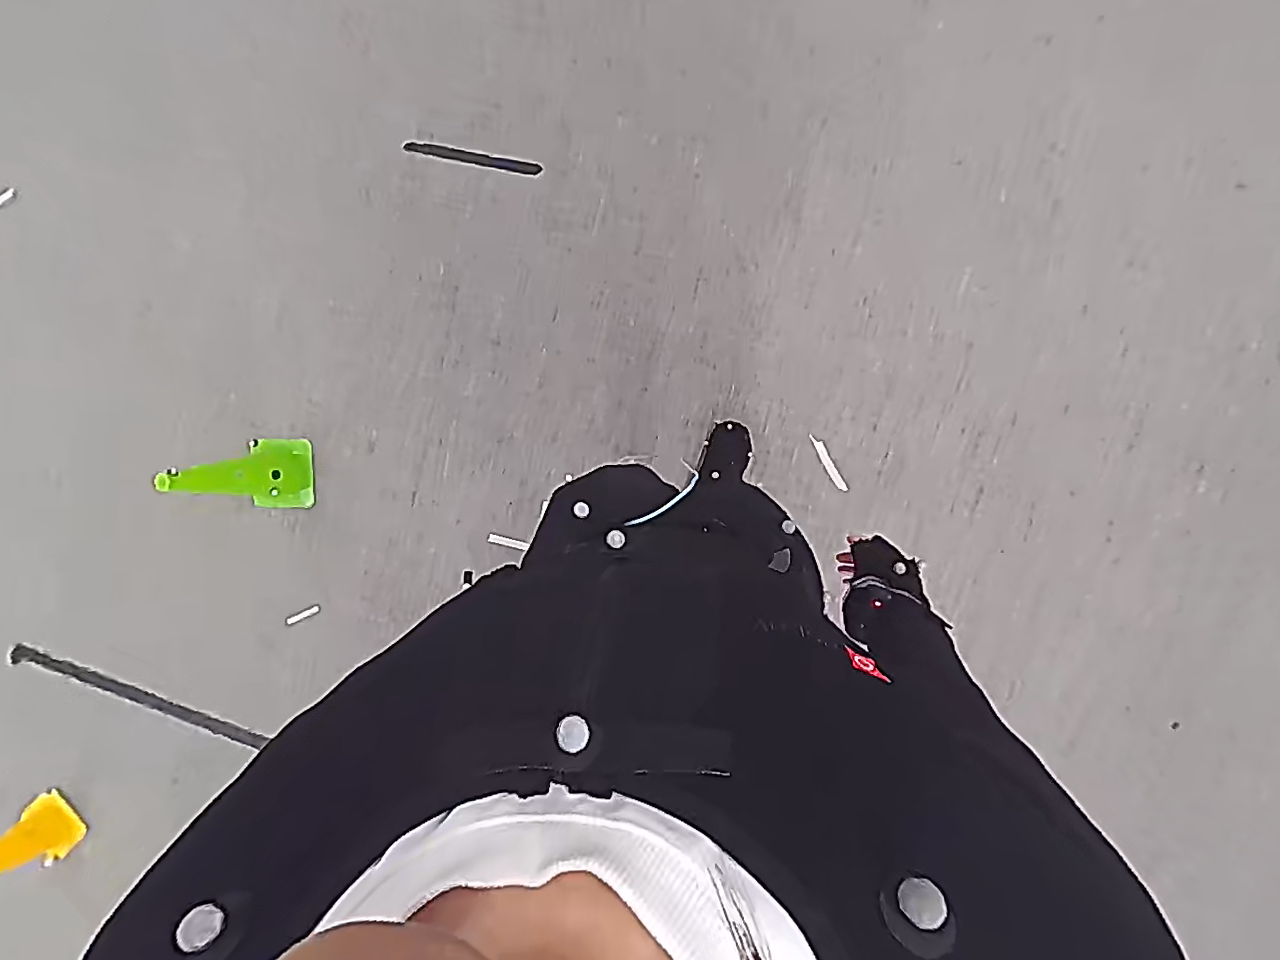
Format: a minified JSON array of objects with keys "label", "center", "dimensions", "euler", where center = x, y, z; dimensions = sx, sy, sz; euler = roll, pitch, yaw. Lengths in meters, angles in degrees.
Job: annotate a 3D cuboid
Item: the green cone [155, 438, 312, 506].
[{"label":"green cone","center":[-1.080,-0.008,1.418],"dimensions":[0.202,0.368,0.200],"euler":[0,95,7]}]
